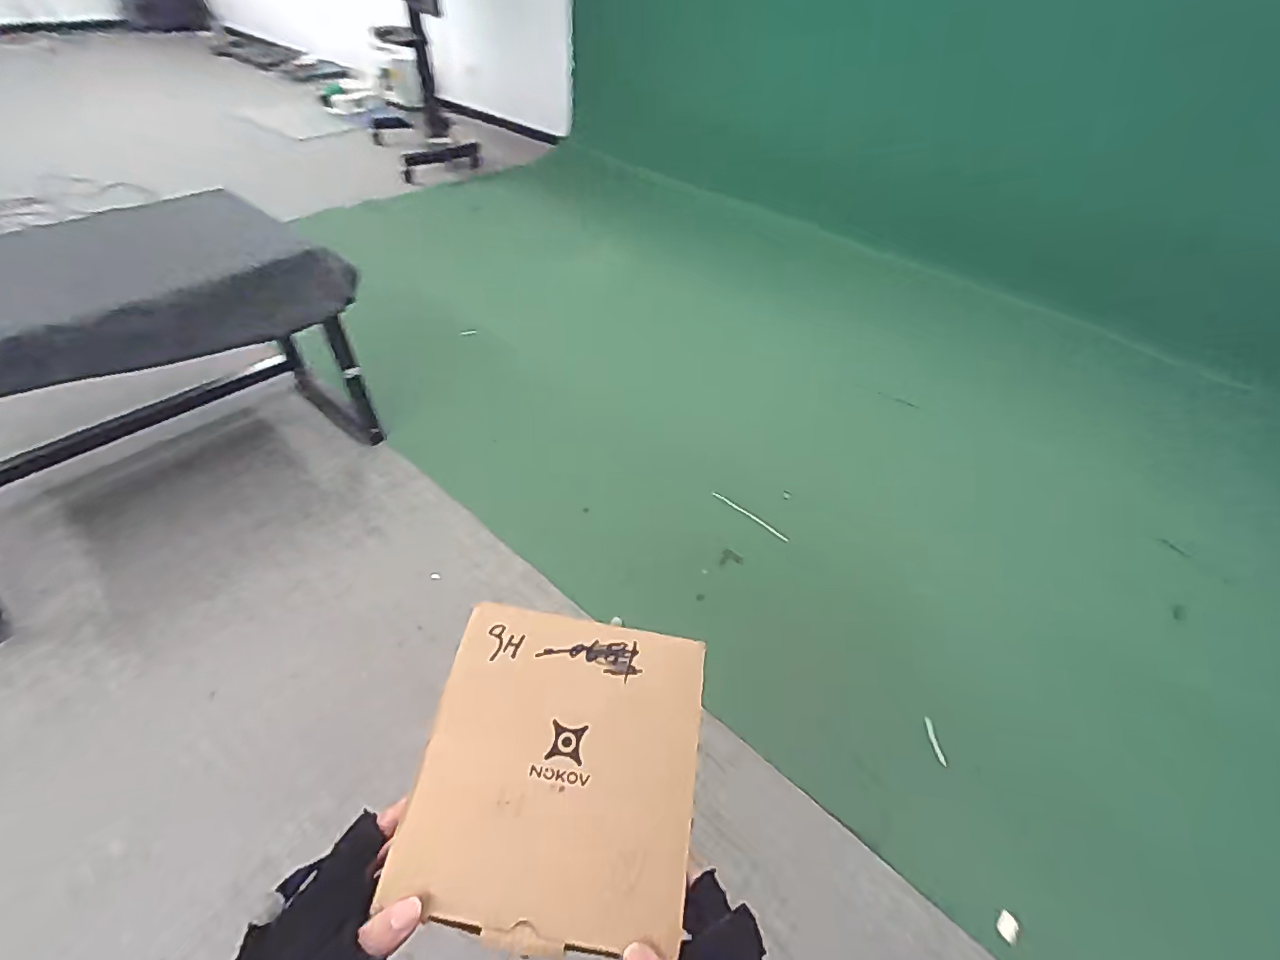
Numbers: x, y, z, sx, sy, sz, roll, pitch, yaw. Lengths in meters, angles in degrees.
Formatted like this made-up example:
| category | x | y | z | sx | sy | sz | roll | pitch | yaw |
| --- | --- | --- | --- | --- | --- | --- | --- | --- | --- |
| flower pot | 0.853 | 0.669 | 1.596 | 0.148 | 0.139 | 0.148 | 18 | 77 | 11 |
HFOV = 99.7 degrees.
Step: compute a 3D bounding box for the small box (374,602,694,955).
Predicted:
| category | x | y | z | sx | sy | sz | roll | pitch | yaw |
| --- | --- | --- | --- | --- | --- | --- | --- | --- | --- |
| small box | -0.058 | 0.213 | 0.401 | 0.168 | 0.176 | 0.179 | 8 | 56 | 0 |
